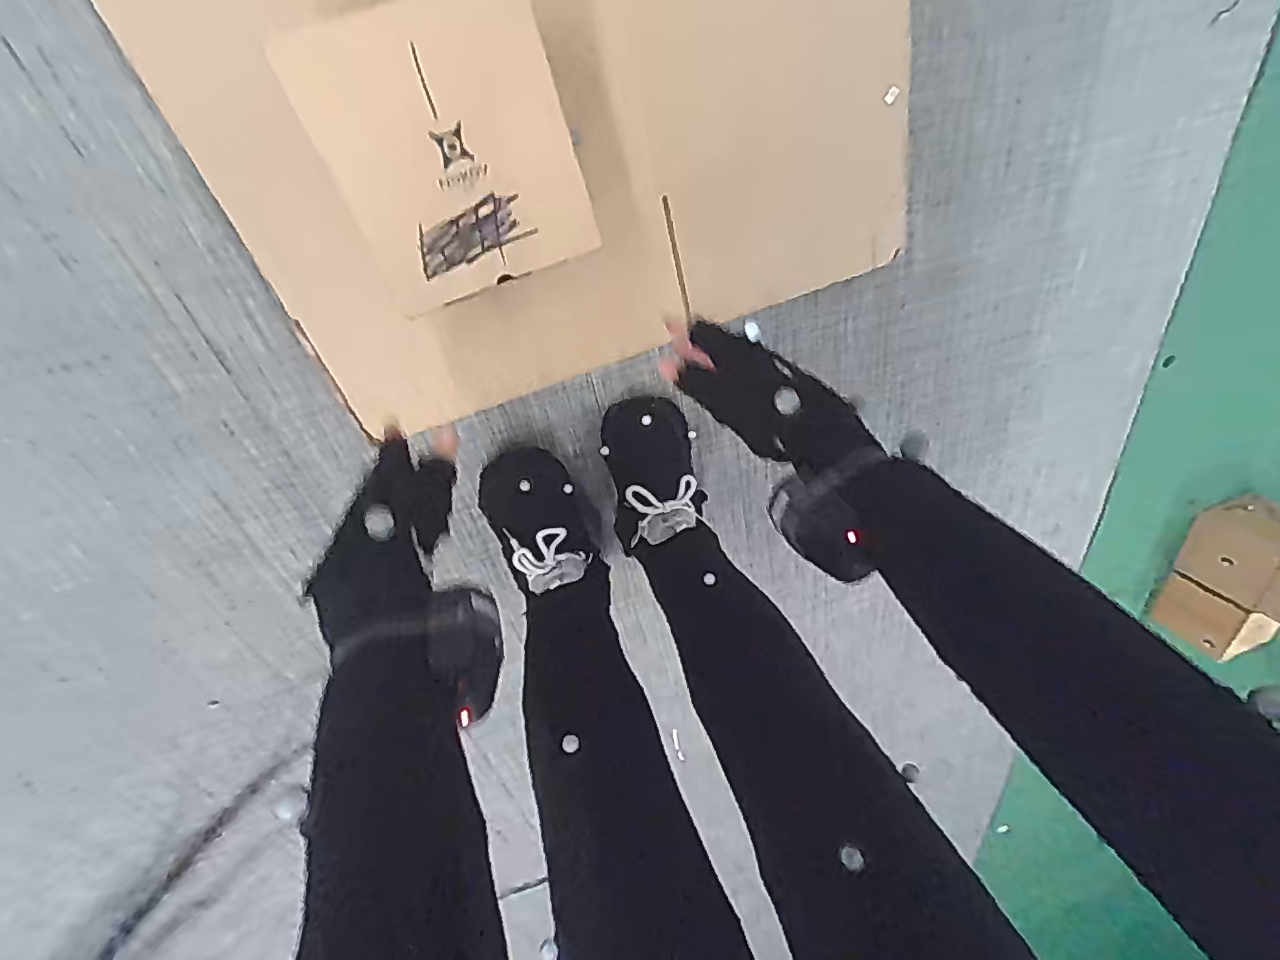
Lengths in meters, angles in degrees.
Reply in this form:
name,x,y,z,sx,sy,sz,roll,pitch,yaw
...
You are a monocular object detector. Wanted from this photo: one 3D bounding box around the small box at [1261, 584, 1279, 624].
name,x,y,z,sx,sy,sz,roll,pitch,yaw
small box,1.460,0.246,1.108,0.168,0.176,0.179,-16,122,-9
